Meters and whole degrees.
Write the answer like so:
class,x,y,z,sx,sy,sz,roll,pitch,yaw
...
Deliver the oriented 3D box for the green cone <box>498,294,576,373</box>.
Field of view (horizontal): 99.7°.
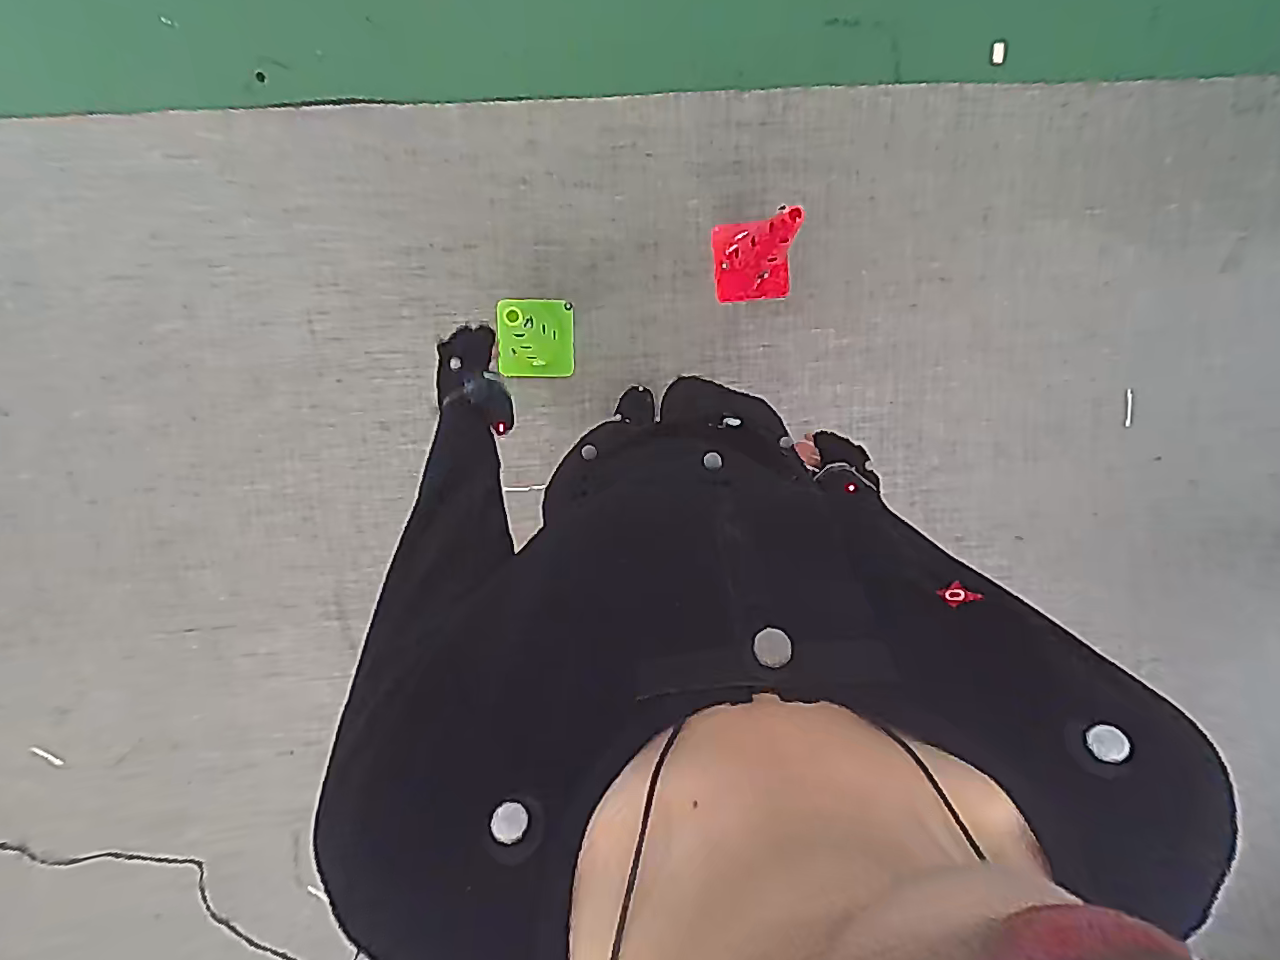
class,x,y,z,sx,sy,sz,roll,pitch,yaw
green cone,-0.265,-0.361,1.260,0.200,0.368,0.202,-1,99,-2
